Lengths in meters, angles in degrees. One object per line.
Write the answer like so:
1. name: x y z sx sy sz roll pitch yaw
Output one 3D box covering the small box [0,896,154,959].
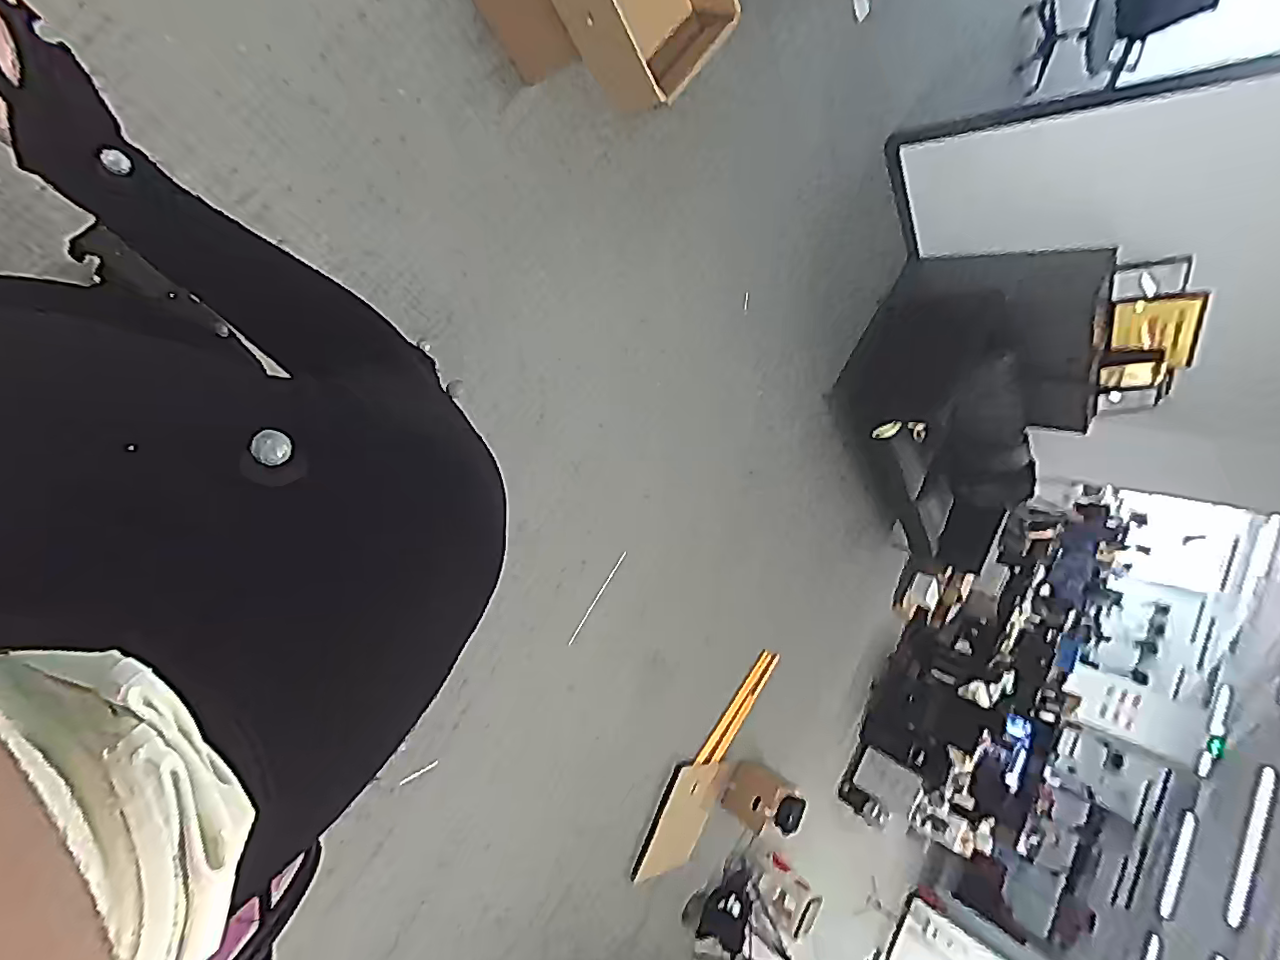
1. small box: -0.757 0.676 0.683 0.179 0.176 0.168 -57 136 -14
